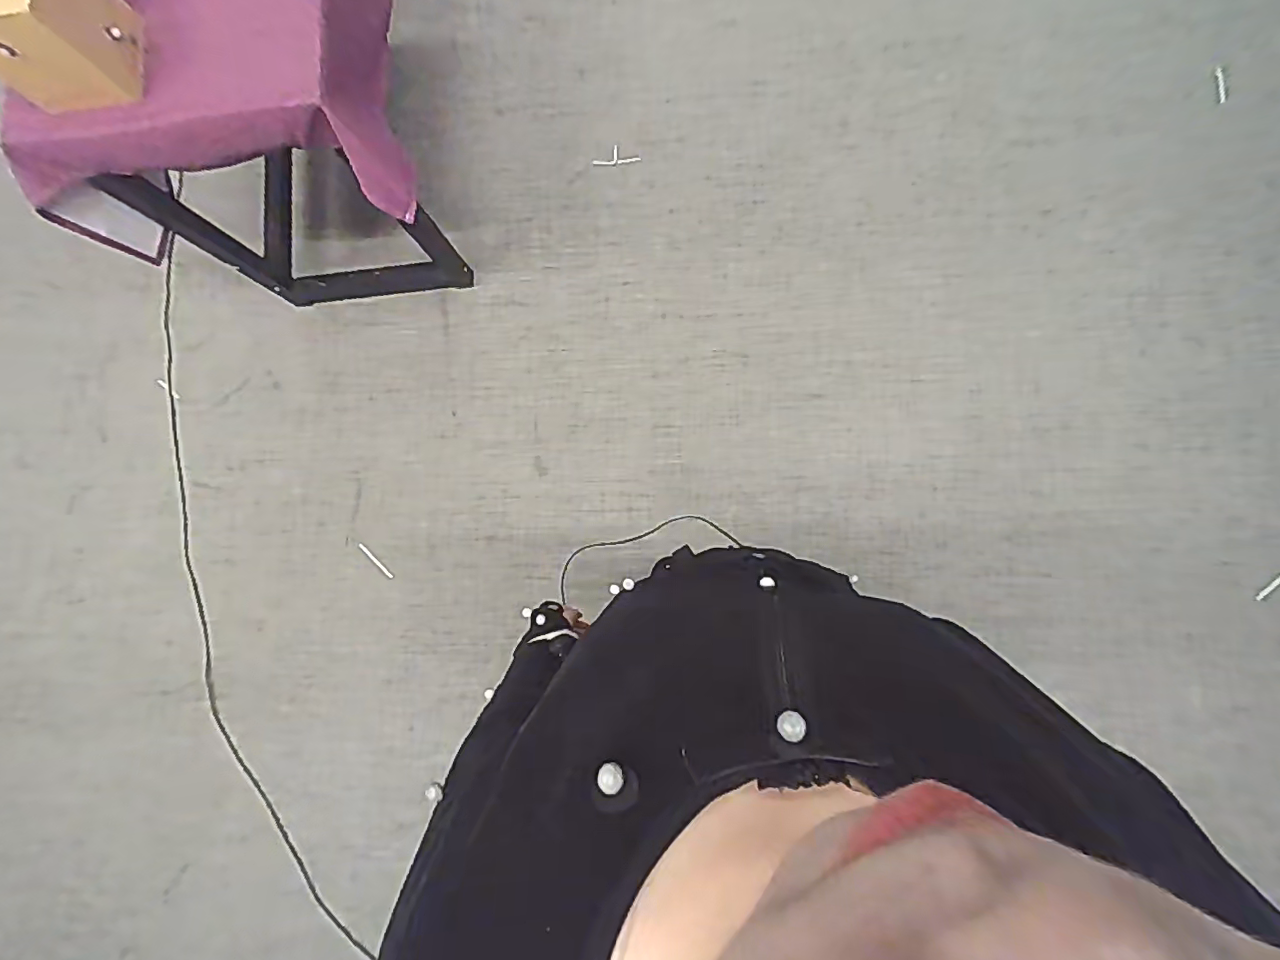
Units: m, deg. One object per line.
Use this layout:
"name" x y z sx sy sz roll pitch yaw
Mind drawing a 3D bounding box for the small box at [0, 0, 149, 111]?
"small box" -0.976 -0.748 0.892 0.179 0.176 0.168 -4 83 4
